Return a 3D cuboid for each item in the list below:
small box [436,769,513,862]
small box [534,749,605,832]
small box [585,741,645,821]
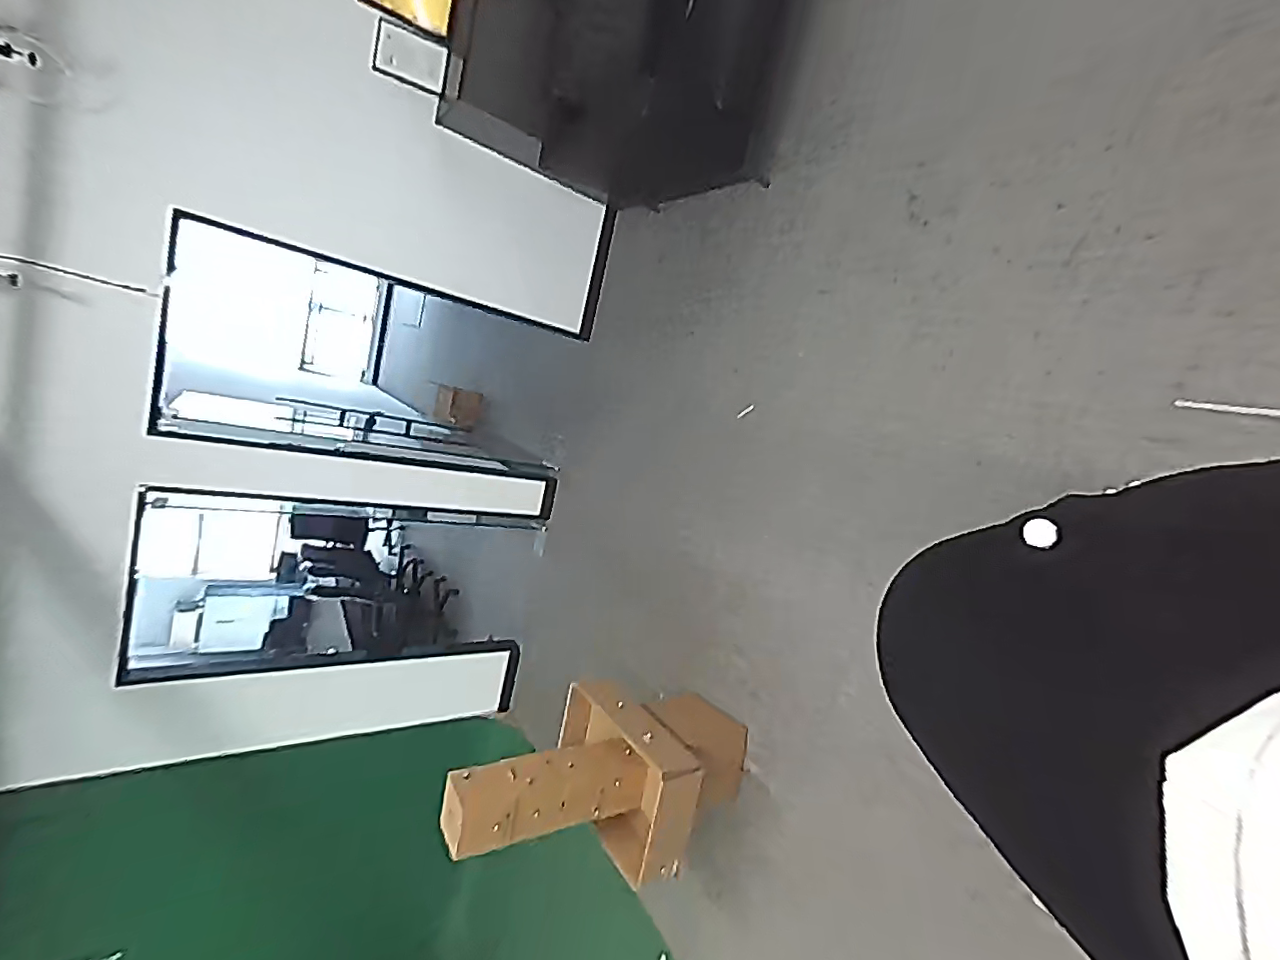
[{"bbox_3d":[-0.507,1.016,1.656,0.179,0.176,0.168,16,97,55],"label":"small box"},{"bbox_3d":[-0.238,1.047,1.843,0.179,0.176,0.168,19,98,55],"label":"small box"},{"bbox_3d":[-0.102,1.069,1.933,0.168,0.176,0.179,17,97,55],"label":"small box"}]
